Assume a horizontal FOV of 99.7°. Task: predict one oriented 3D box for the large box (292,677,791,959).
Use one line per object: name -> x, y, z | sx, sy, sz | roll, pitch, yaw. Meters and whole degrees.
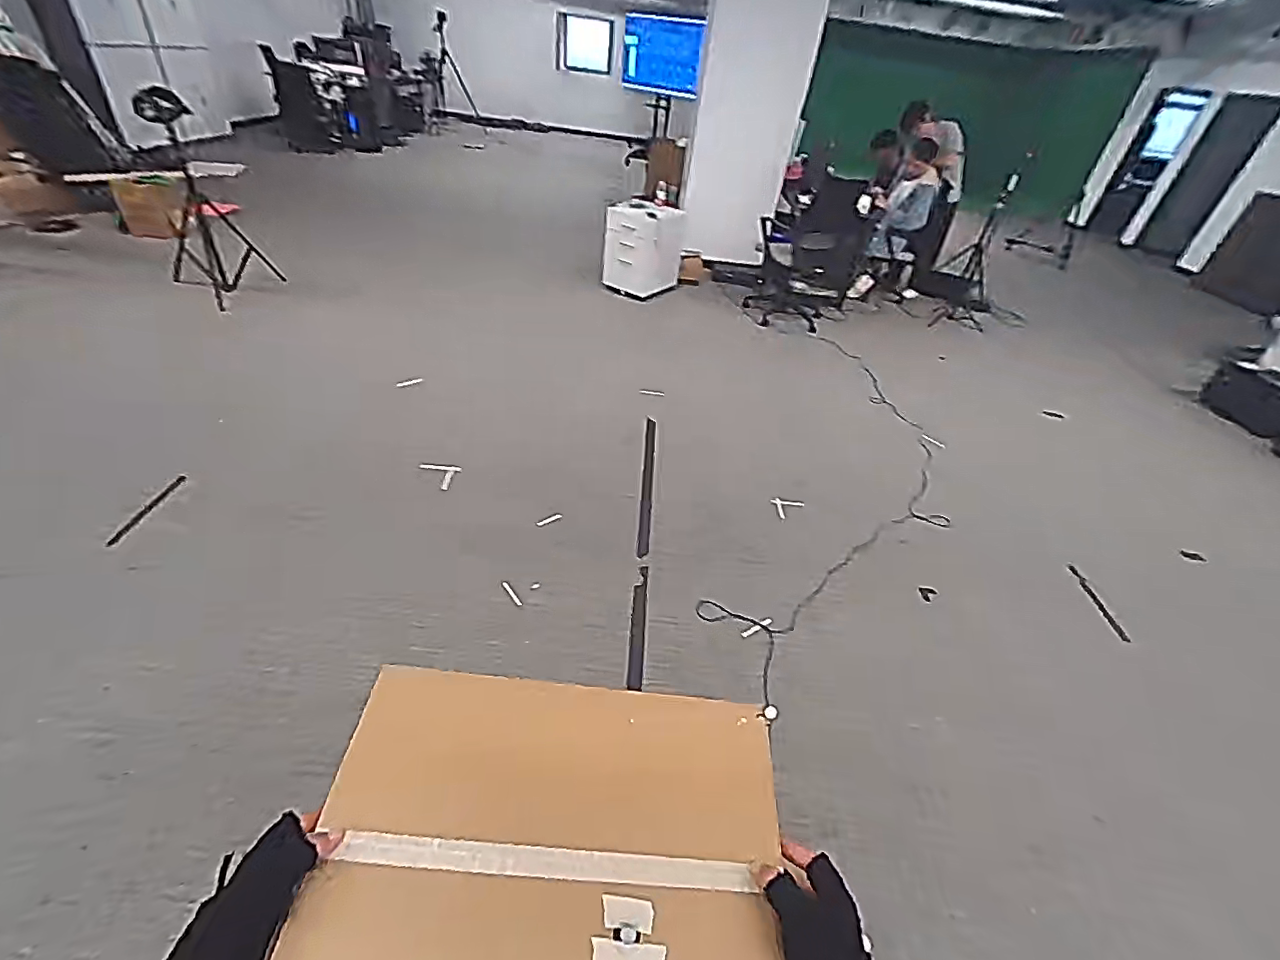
large box -> -0.089, 0.442, 0.579 | 0.408, 0.320, 0.320 | 8, 46, -4
